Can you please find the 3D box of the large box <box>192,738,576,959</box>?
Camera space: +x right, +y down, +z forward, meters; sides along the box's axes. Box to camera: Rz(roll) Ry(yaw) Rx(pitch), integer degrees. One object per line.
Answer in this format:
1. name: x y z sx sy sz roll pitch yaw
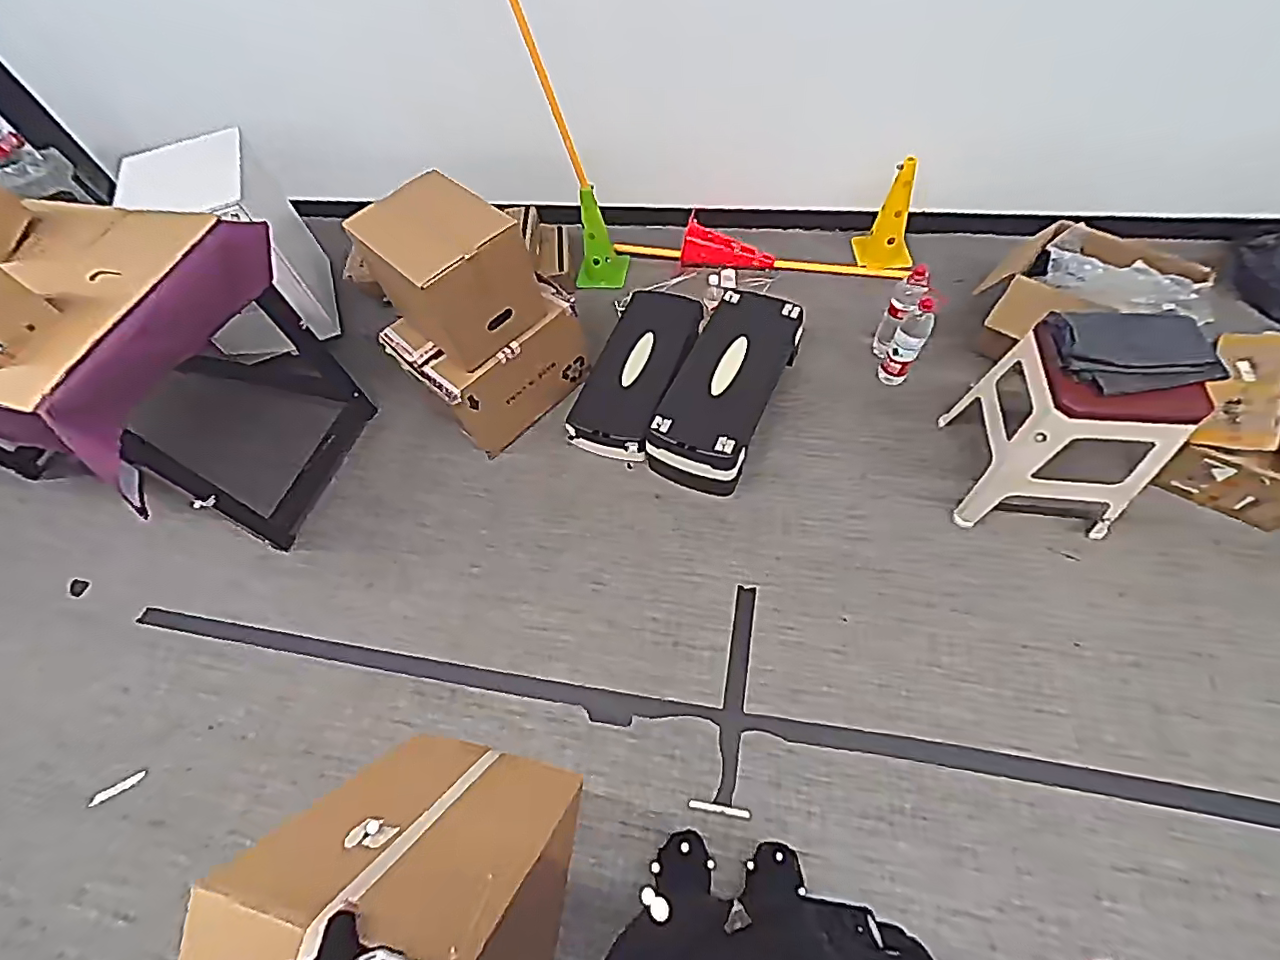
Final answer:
1. large box: -0.312 0.626 0.741 0.320 0.408 0.320 8 90 12
